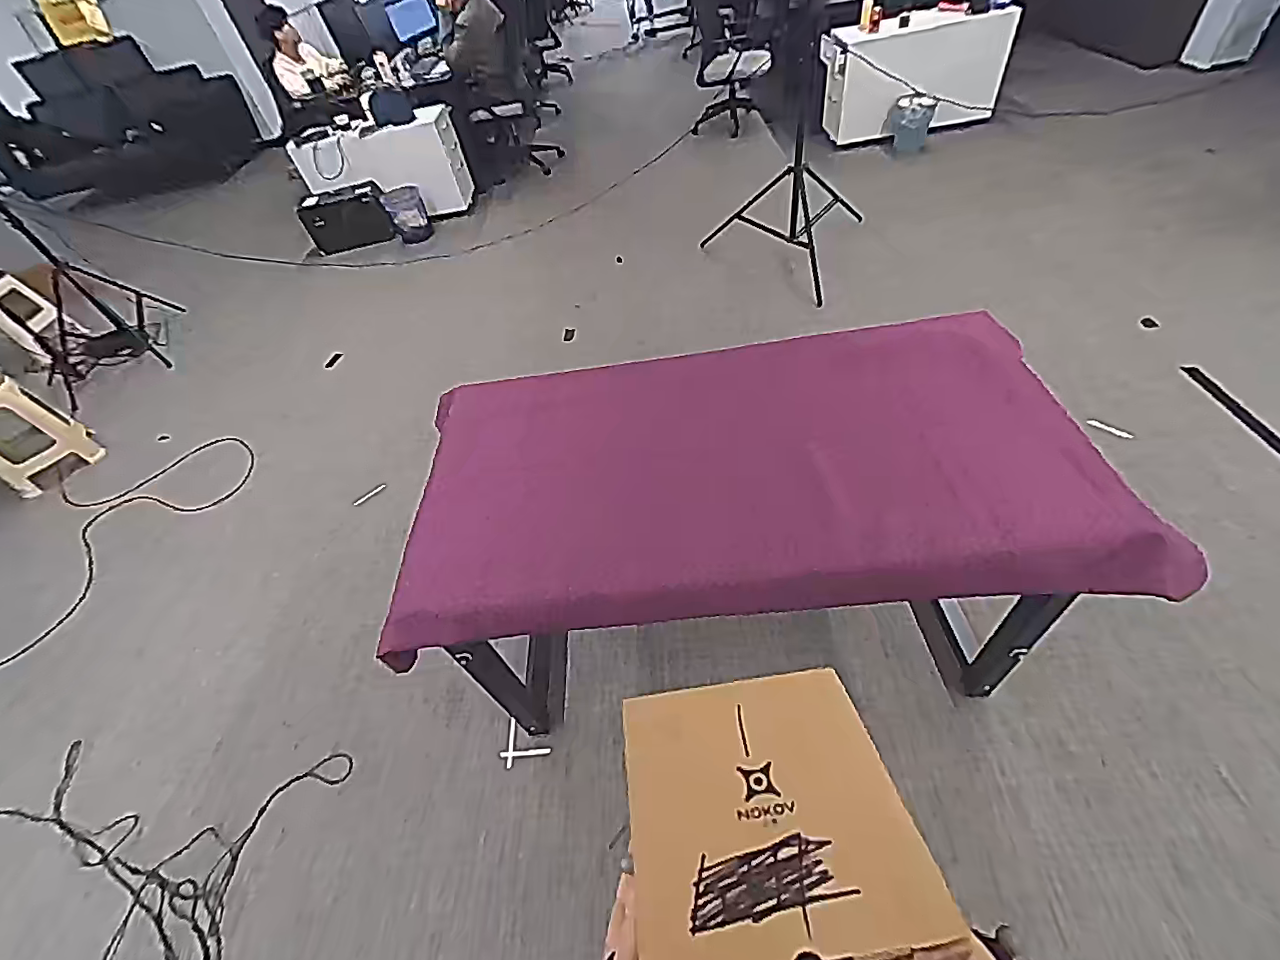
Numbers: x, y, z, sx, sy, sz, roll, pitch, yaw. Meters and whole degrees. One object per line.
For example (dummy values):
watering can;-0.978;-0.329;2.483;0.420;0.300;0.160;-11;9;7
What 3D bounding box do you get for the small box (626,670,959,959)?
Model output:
small box;0.085;0.269;0.379;0.168;0.176;0.179;-8;28;-1
